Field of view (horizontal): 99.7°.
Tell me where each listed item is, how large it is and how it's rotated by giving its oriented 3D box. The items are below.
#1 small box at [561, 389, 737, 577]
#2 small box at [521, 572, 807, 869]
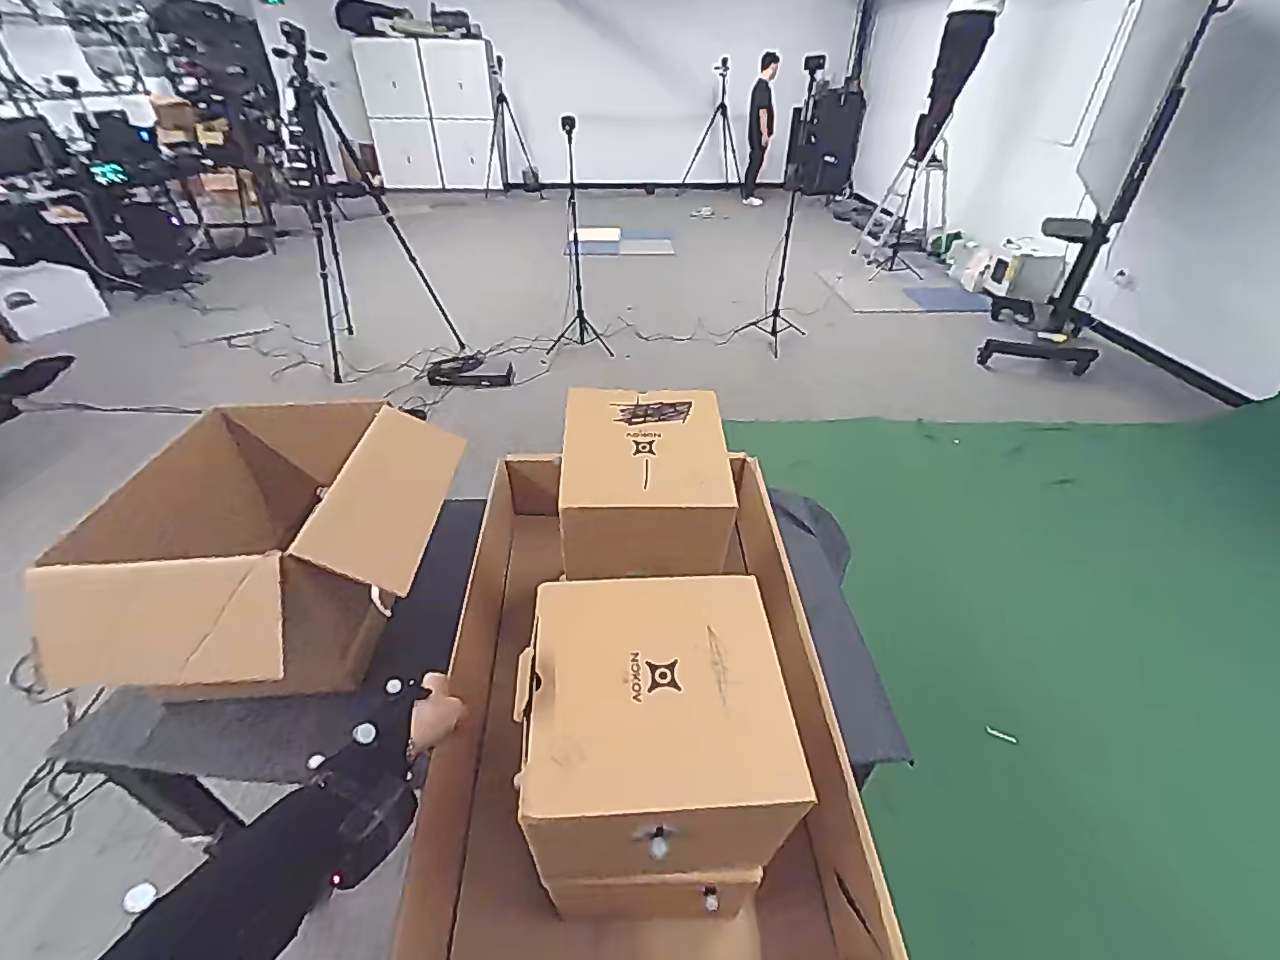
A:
[{"bbox_3d":[0.003,0.018,0.610,0.168,0.176,0.179,0,47,-2],"label":"small box"},{"bbox_3d":[0.009,0.192,0.433,0.179,0.176,0.168,-1,43,-5],"label":"small box"}]
